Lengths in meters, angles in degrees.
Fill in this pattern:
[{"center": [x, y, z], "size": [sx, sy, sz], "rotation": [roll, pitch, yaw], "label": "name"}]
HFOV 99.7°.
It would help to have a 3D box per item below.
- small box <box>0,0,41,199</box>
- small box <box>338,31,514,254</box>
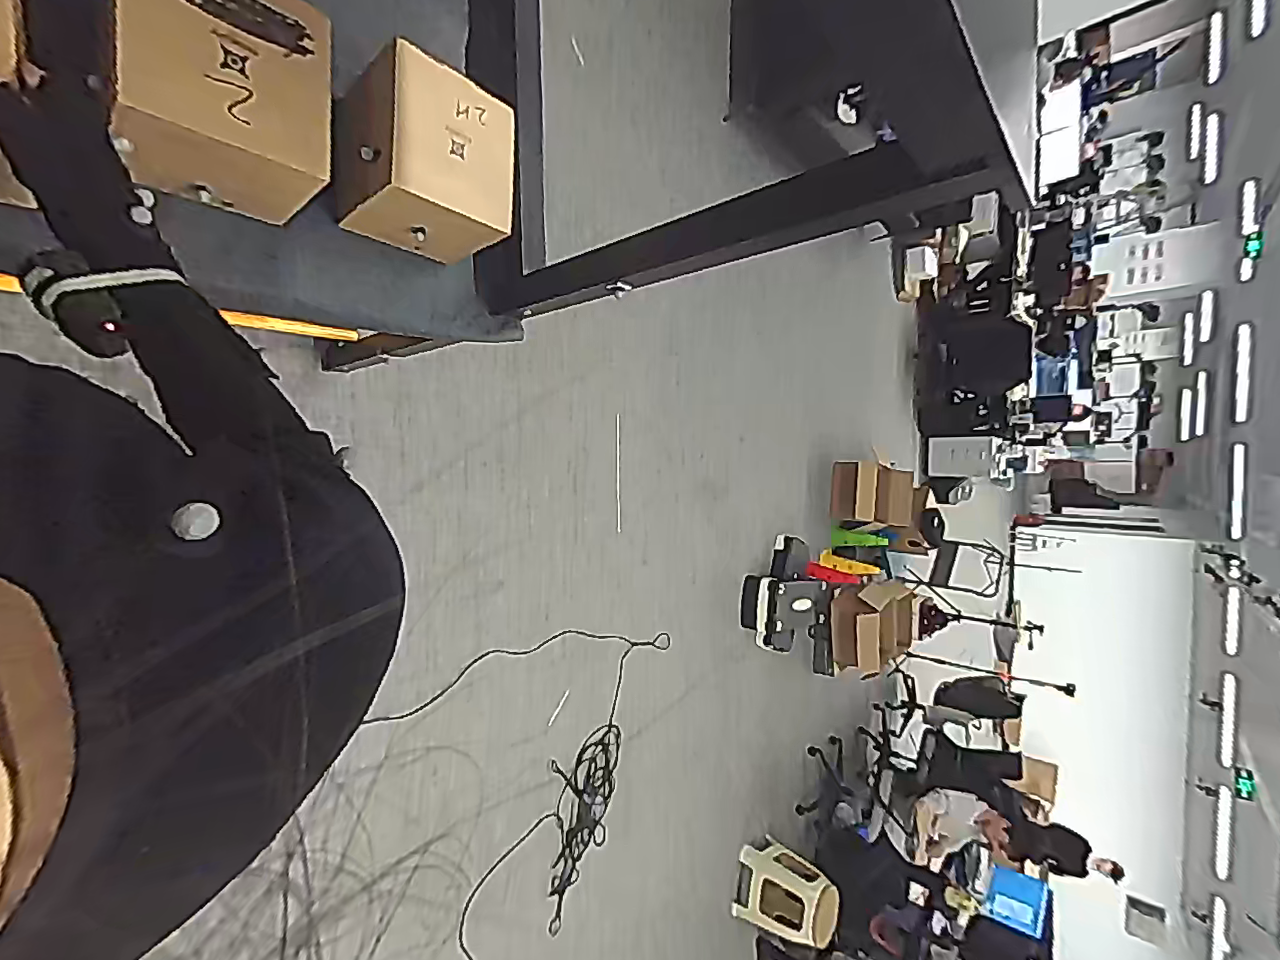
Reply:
[{"center": [-0.578, -0.343, 0.402], "size": [0.168, 0.176, 0.179], "rotation": [-4, 91, -45], "label": "small box"}, {"center": [-0.291, -0.431, 0.733], "size": [0.168, 0.176, 0.179], "rotation": [2, 90, -49], "label": "small box"}]
